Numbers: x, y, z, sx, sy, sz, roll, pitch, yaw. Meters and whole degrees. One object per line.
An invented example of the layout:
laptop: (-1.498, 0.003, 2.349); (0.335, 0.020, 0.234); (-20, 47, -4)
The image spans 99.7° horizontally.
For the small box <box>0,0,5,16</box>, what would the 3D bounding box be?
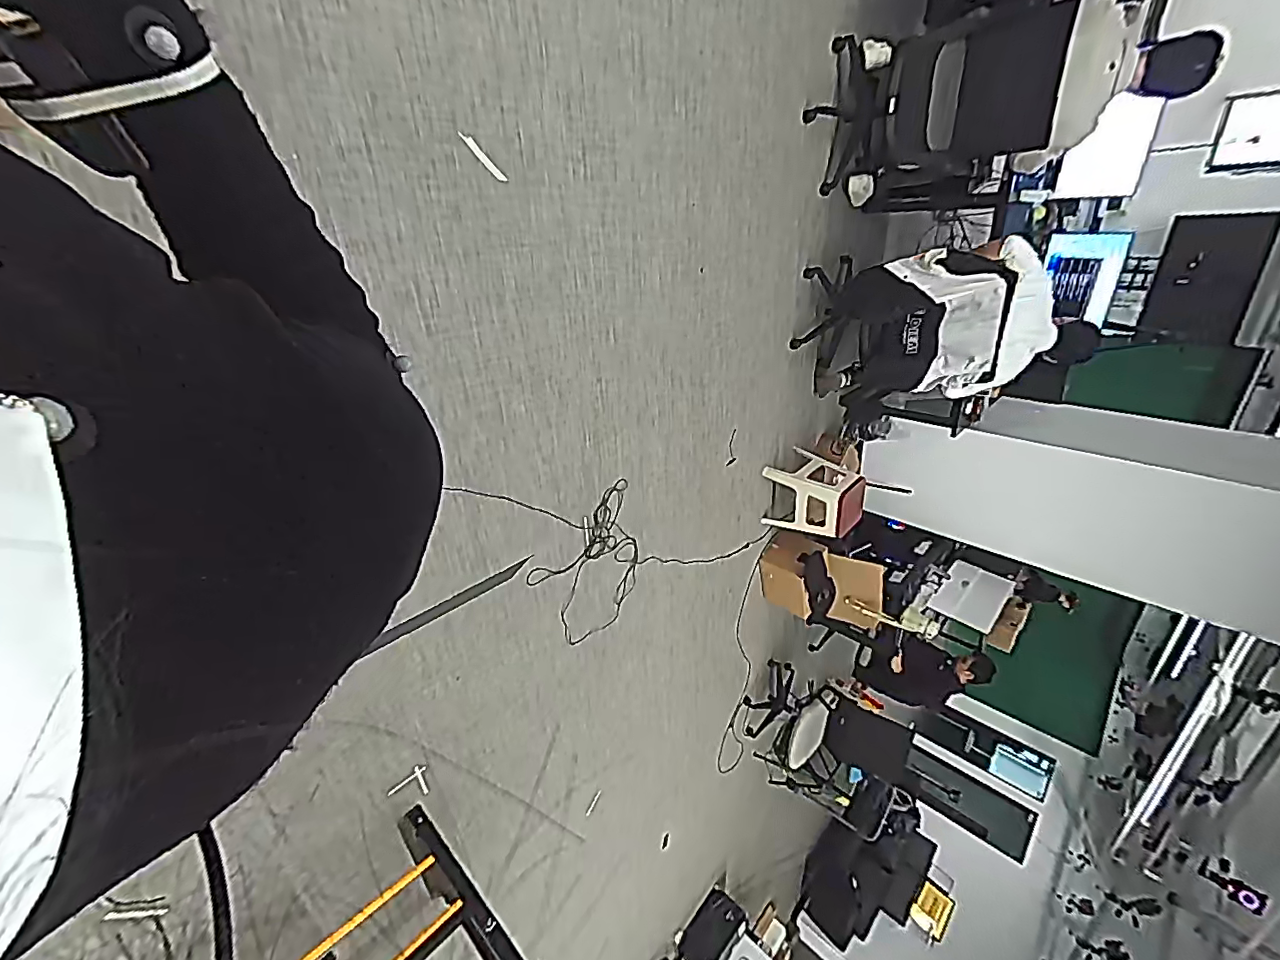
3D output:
small box: (-0.721, -0.509, 0.466); (0.179, 0.176, 0.168); (-30, 128, -39)
